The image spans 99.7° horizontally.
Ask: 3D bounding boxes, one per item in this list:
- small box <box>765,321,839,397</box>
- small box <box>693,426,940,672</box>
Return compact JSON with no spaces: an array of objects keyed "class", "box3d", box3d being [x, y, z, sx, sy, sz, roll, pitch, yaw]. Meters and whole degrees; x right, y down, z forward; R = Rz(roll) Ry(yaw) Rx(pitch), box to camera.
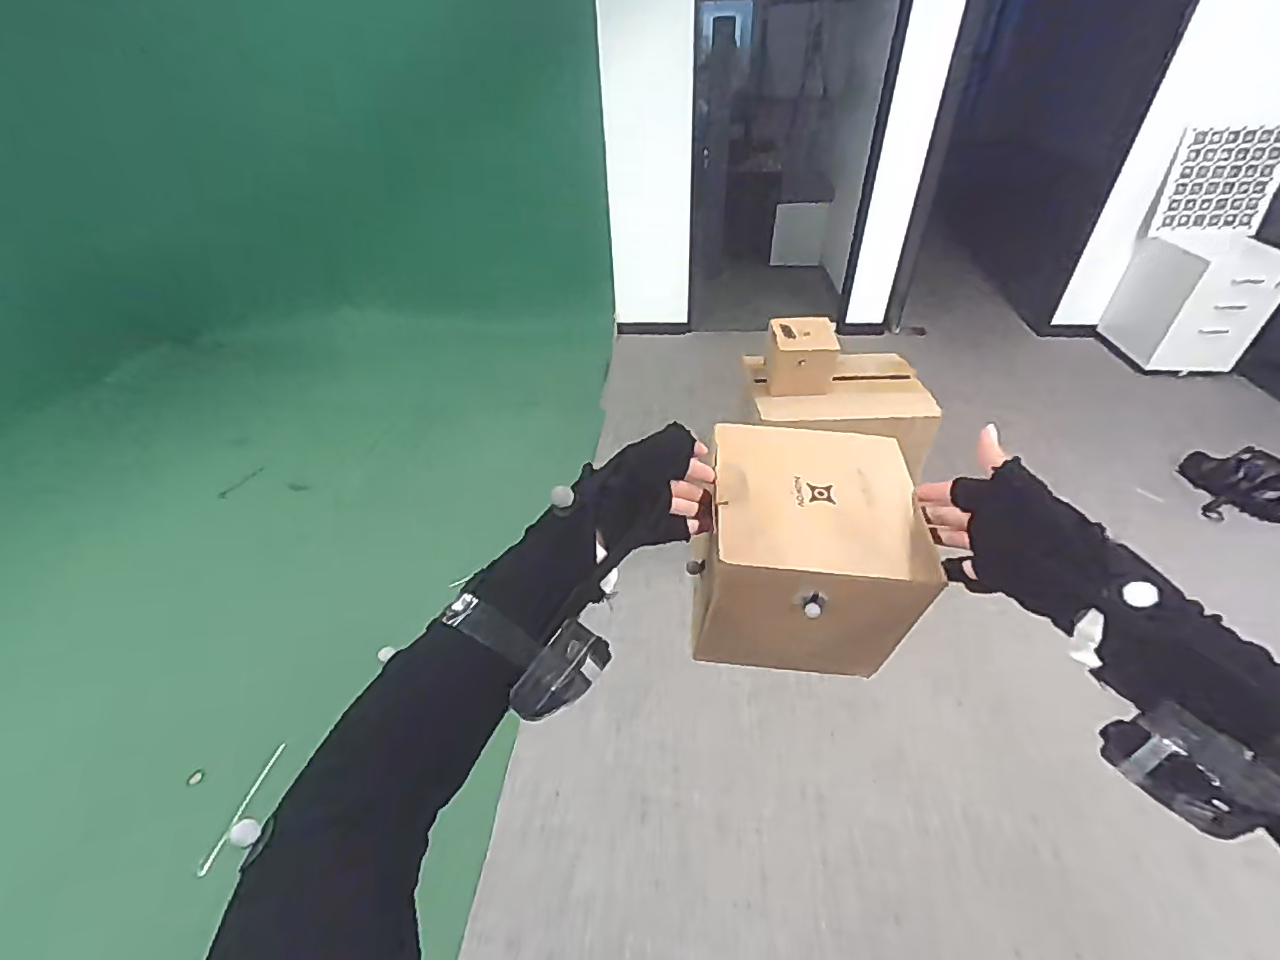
[{"class":"small box","box3d":[0.483,-0.366,1.645,0.179,0.176,0.168,-1,48,1]},{"class":"small box","box3d":[0.146,0.070,0.525,0.179,0.176,0.168,6,46,1]}]
